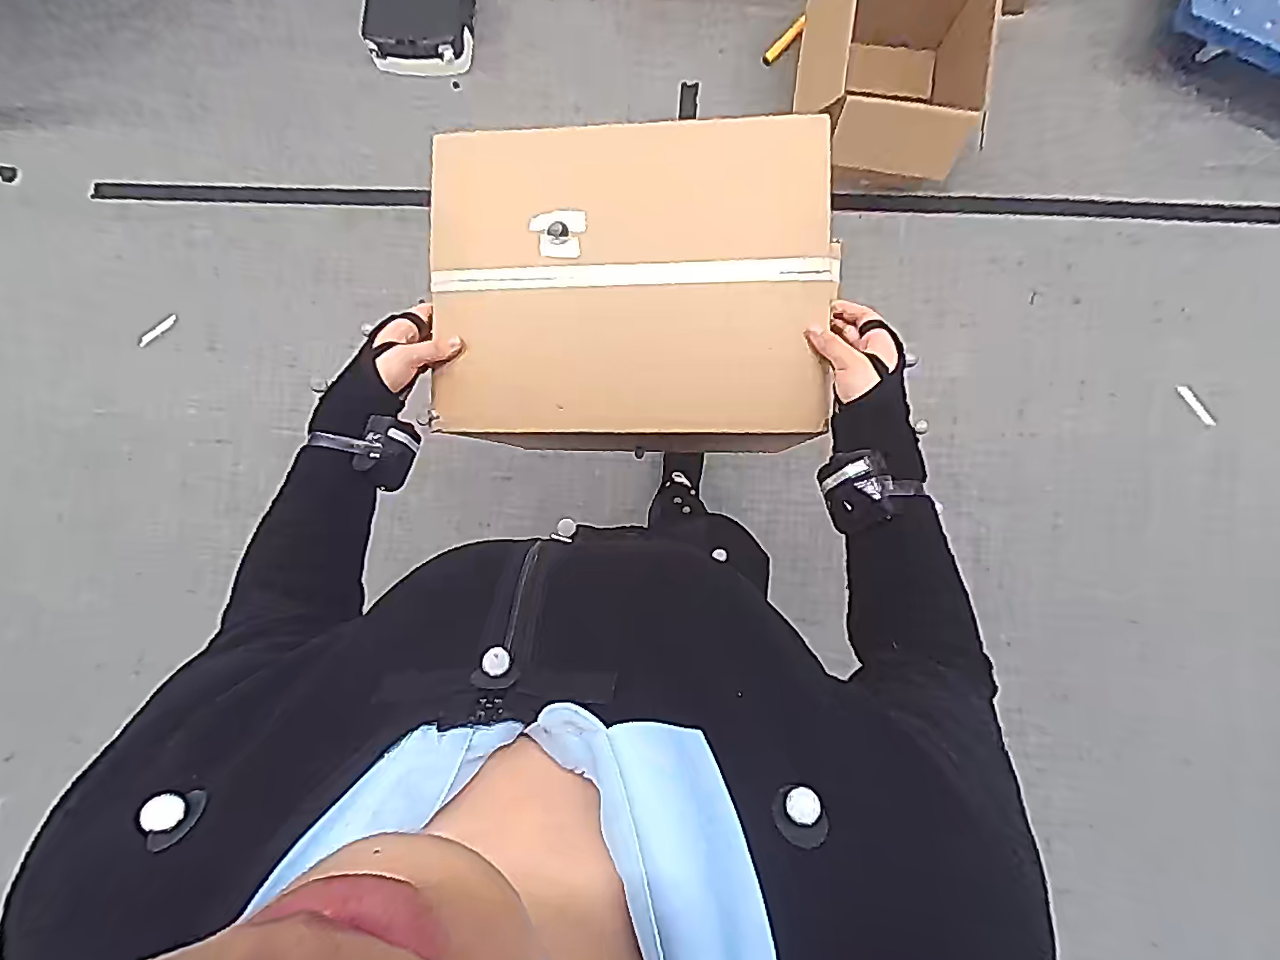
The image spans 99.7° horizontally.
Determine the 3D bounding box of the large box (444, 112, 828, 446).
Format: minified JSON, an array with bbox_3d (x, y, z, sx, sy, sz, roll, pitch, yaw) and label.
[{"bbox_3d":[0.007,-0.209,0.705,0.408,0.320,0.320,0,88,7],"label":"large box"}]
